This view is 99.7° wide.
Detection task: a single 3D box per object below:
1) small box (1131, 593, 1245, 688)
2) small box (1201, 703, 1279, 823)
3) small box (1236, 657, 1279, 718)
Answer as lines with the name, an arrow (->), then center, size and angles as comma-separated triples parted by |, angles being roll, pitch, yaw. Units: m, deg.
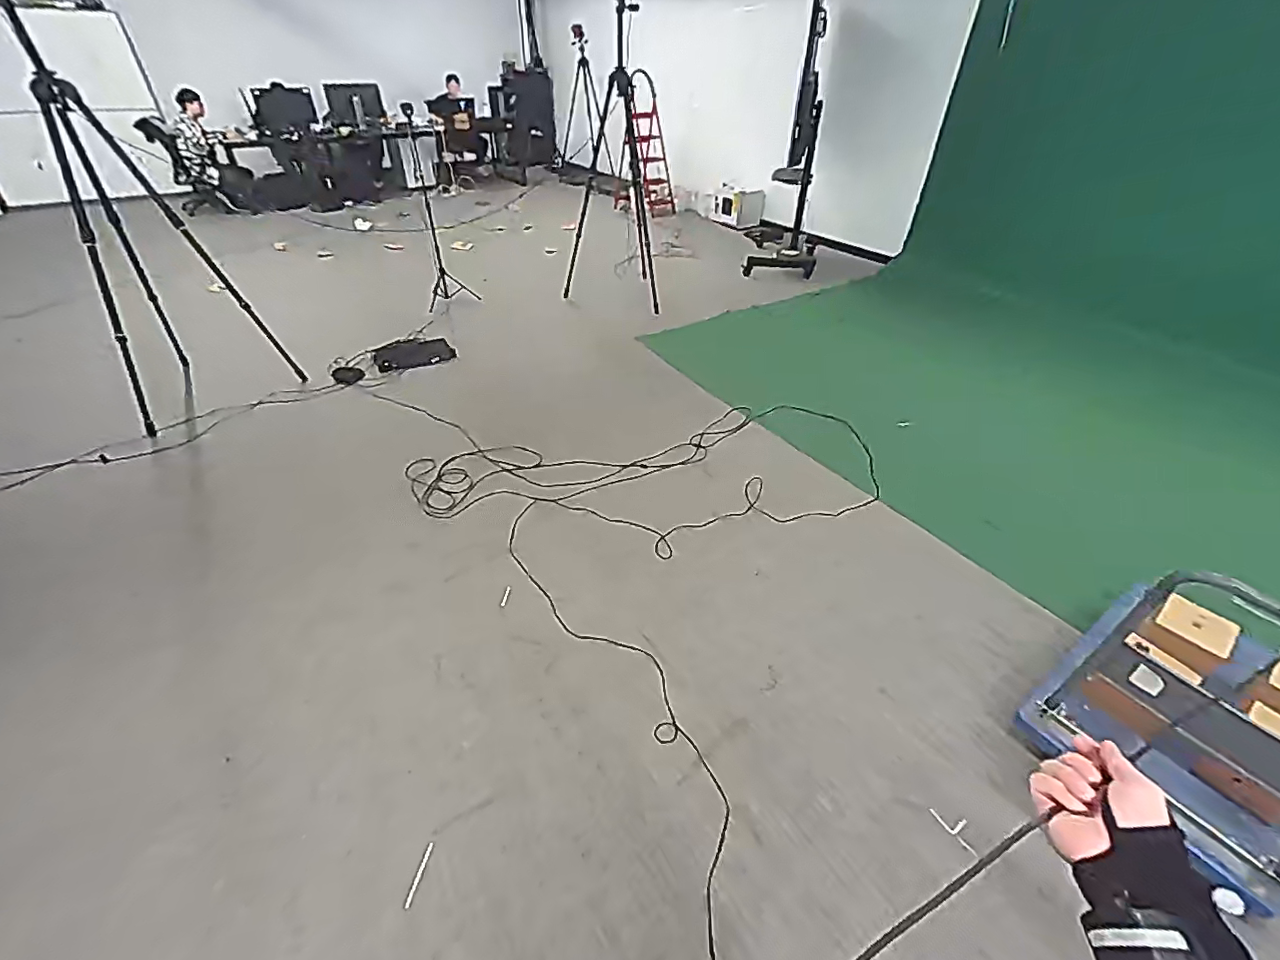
small box -> 1.624, 0.480, 1.613 | 0.179, 0.176, 0.168 | -27, 47, -29
small box -> 1.563, 0.700, 1.340 | 0.179, 0.176, 0.168 | -24, 45, -25
small box -> 1.783, 0.601, 1.461 | 0.179, 0.176, 0.168 | -28, 46, -29
